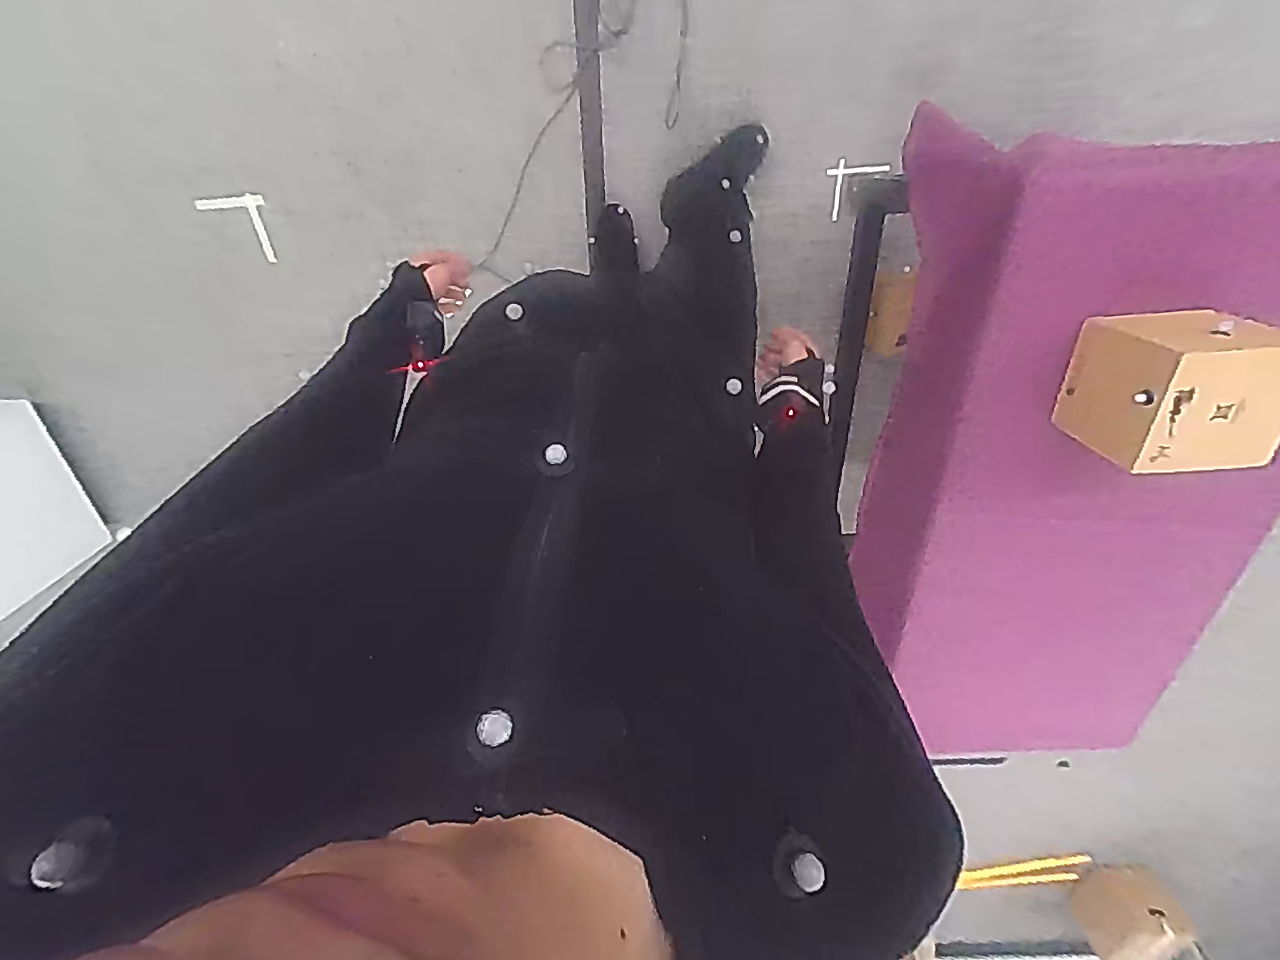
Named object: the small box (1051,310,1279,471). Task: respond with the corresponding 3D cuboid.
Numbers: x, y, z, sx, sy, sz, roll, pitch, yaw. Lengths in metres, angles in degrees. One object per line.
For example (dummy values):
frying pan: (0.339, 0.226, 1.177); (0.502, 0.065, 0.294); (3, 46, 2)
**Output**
small box: (0.727, -0.128, 0.742); (0.179, 0.176, 0.168); (-4, 120, 2)
